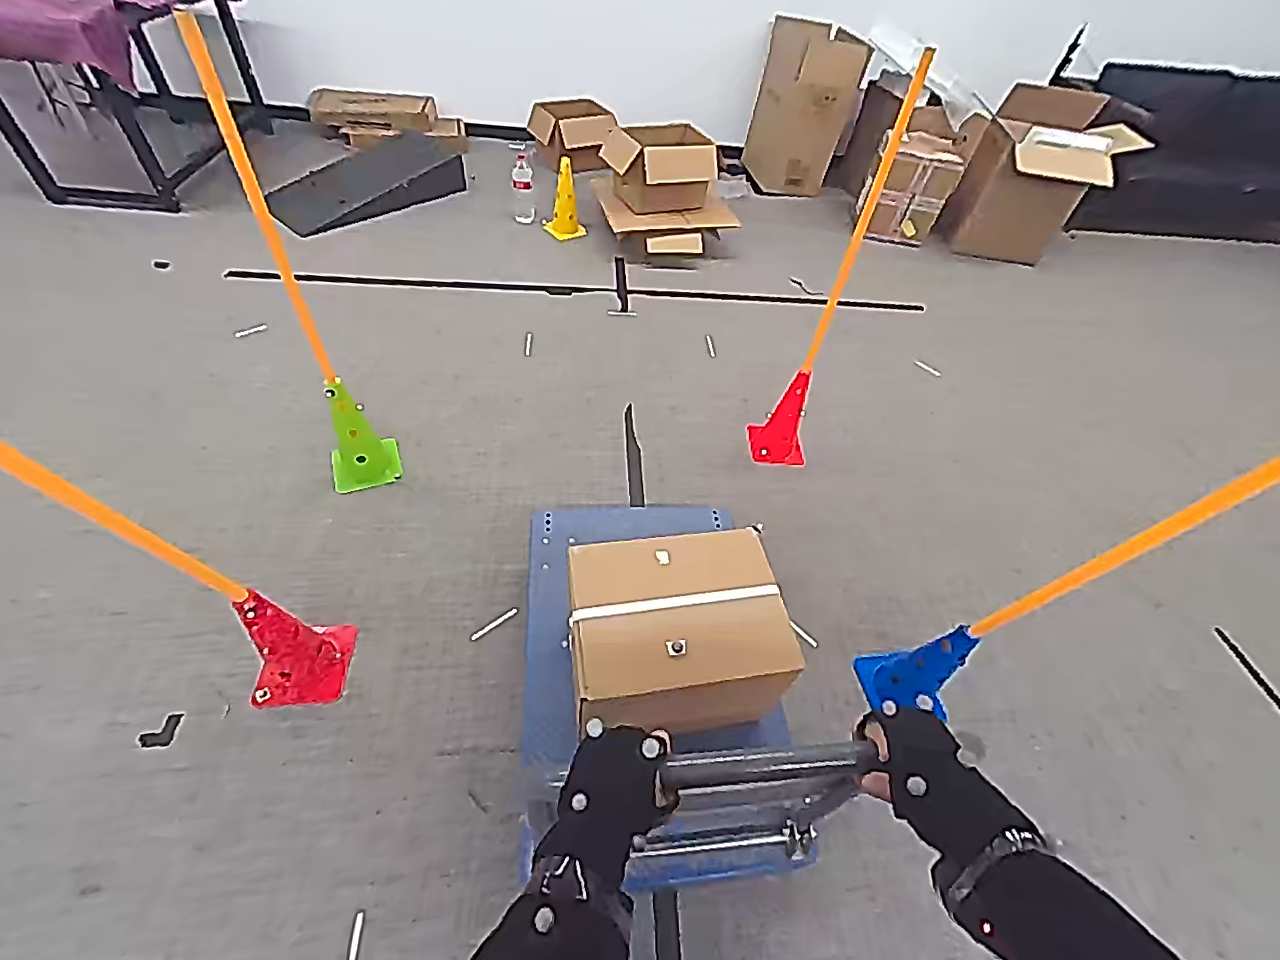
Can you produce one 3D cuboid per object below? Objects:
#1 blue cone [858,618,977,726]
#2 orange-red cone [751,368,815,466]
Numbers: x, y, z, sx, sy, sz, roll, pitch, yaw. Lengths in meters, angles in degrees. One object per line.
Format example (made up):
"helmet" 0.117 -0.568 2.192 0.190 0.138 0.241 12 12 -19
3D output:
"blue cone" 0.727 0.457 1.351 0.193 0.380 0.192 -2 49 -10
"orange-red cone" 0.539 -0.243 1.902 0.199 0.360 0.198 6 50 -4
